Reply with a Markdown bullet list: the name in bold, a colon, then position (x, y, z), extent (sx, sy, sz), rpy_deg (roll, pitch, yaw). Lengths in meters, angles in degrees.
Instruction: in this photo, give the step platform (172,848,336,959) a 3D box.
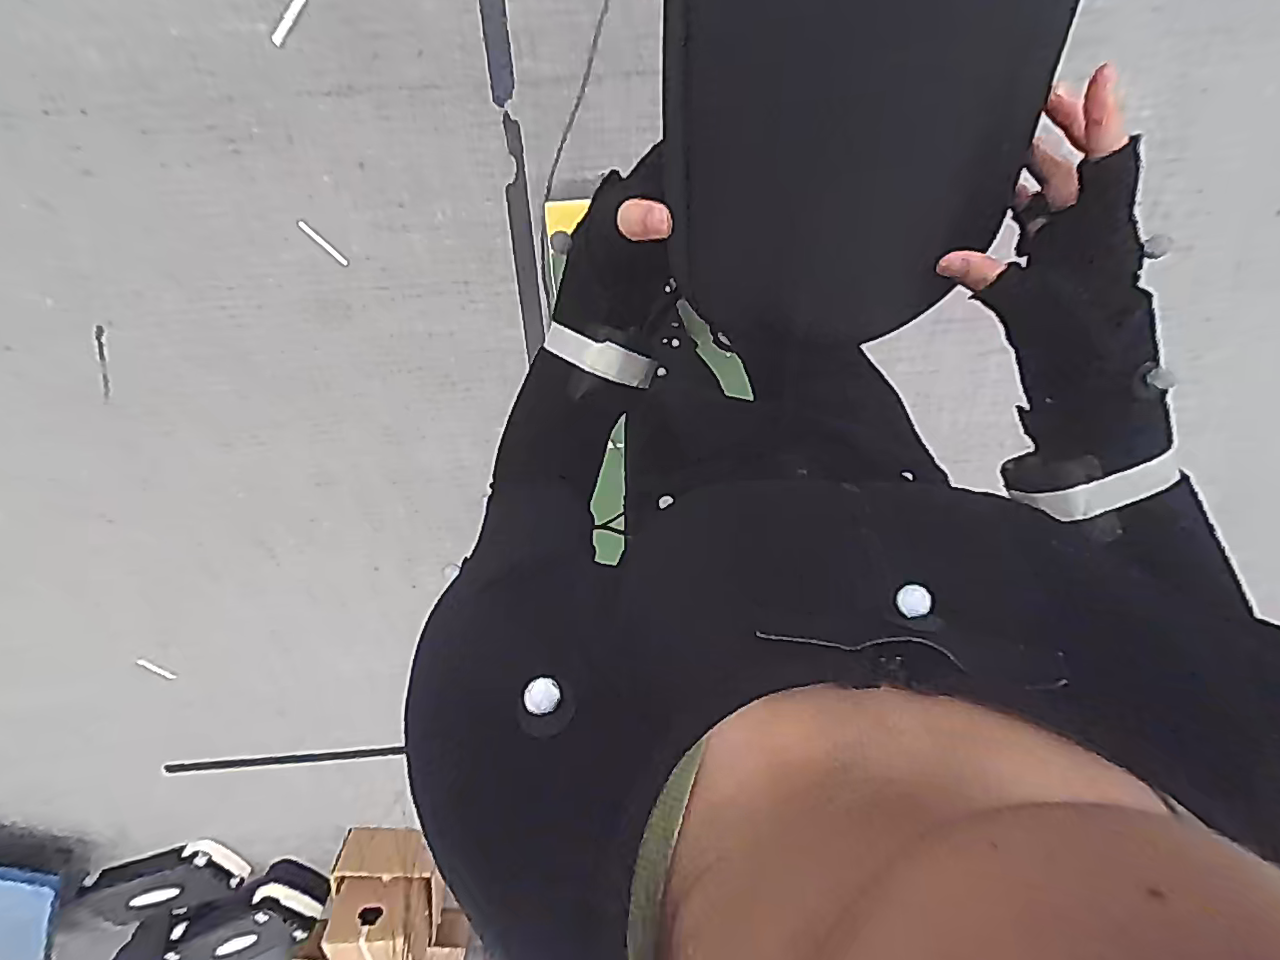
- **step platform**: position (-1.740, 1.918, 2.438), extent (0.684, 0.204, 0.286), rpy_deg (-30, 117, 12)
